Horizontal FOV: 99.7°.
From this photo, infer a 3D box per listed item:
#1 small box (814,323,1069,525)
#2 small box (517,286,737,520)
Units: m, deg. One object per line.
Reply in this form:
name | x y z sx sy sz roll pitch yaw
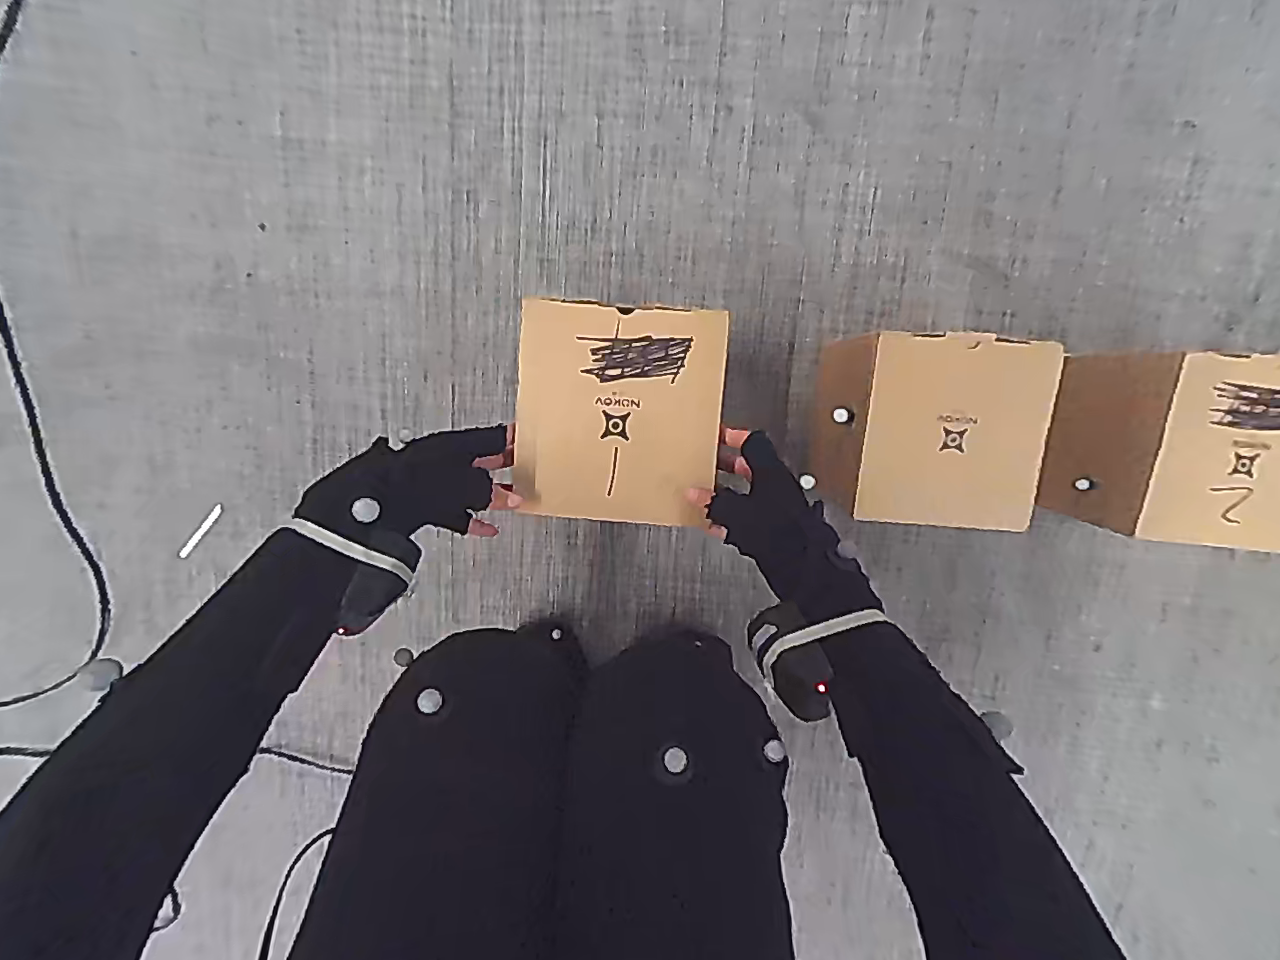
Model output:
small box | 0.292 -0.063 0.569 0.168 0.176 0.179 4 100 2
small box | -0.010 -0.068 0.511 0.168 0.176 0.179 5 96 2
